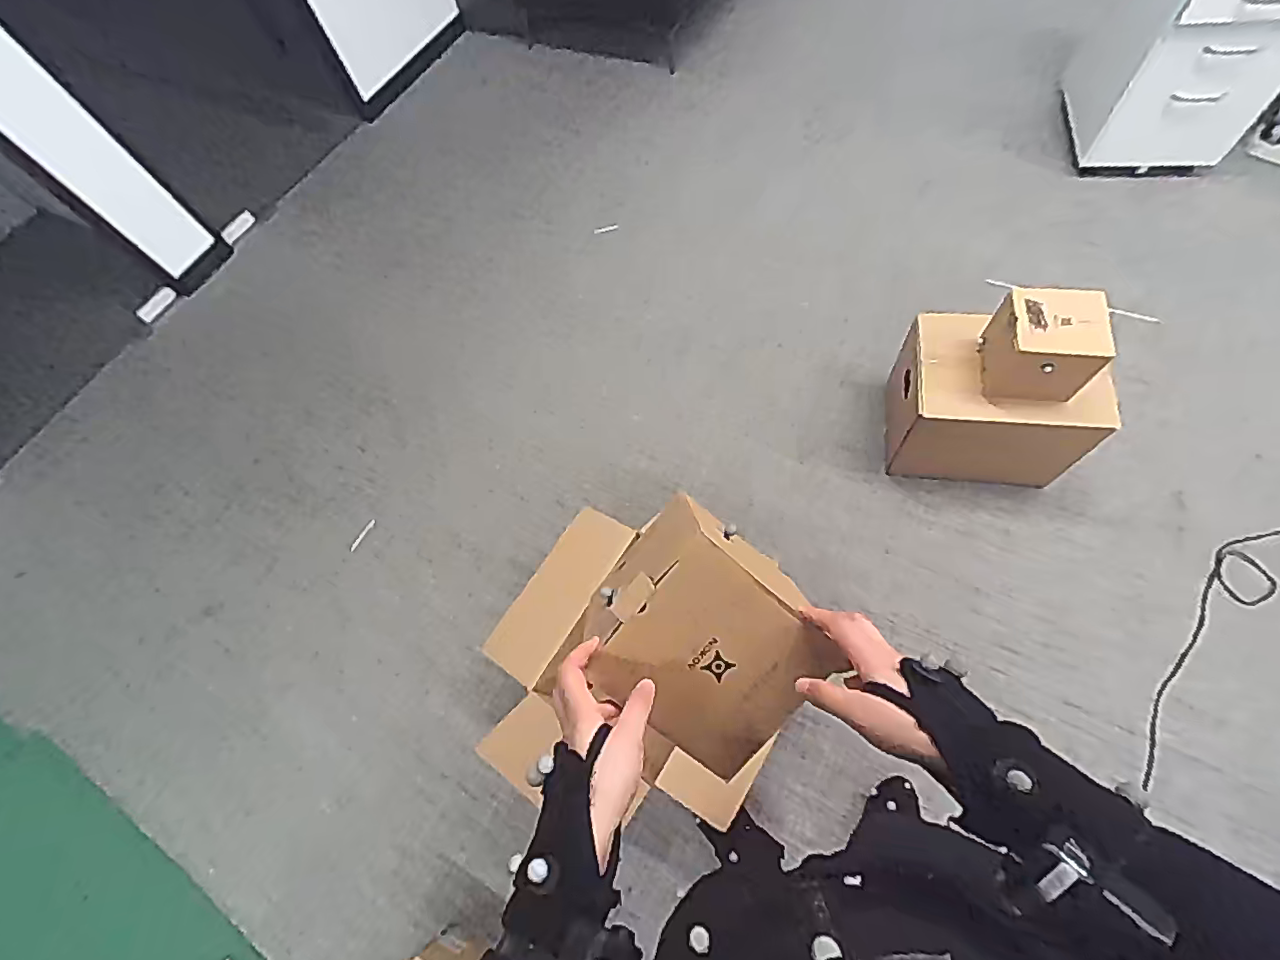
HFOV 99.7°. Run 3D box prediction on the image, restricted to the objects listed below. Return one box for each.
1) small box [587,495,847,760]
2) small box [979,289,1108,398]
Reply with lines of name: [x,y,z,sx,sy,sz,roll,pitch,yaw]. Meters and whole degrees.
small box: [0.066,0.132,0.557,0.179,0.176,0.168,38,98,-8]
small box: [0.867,-0.295,1.185,0.179,0.176,0.168,6,67,12]
